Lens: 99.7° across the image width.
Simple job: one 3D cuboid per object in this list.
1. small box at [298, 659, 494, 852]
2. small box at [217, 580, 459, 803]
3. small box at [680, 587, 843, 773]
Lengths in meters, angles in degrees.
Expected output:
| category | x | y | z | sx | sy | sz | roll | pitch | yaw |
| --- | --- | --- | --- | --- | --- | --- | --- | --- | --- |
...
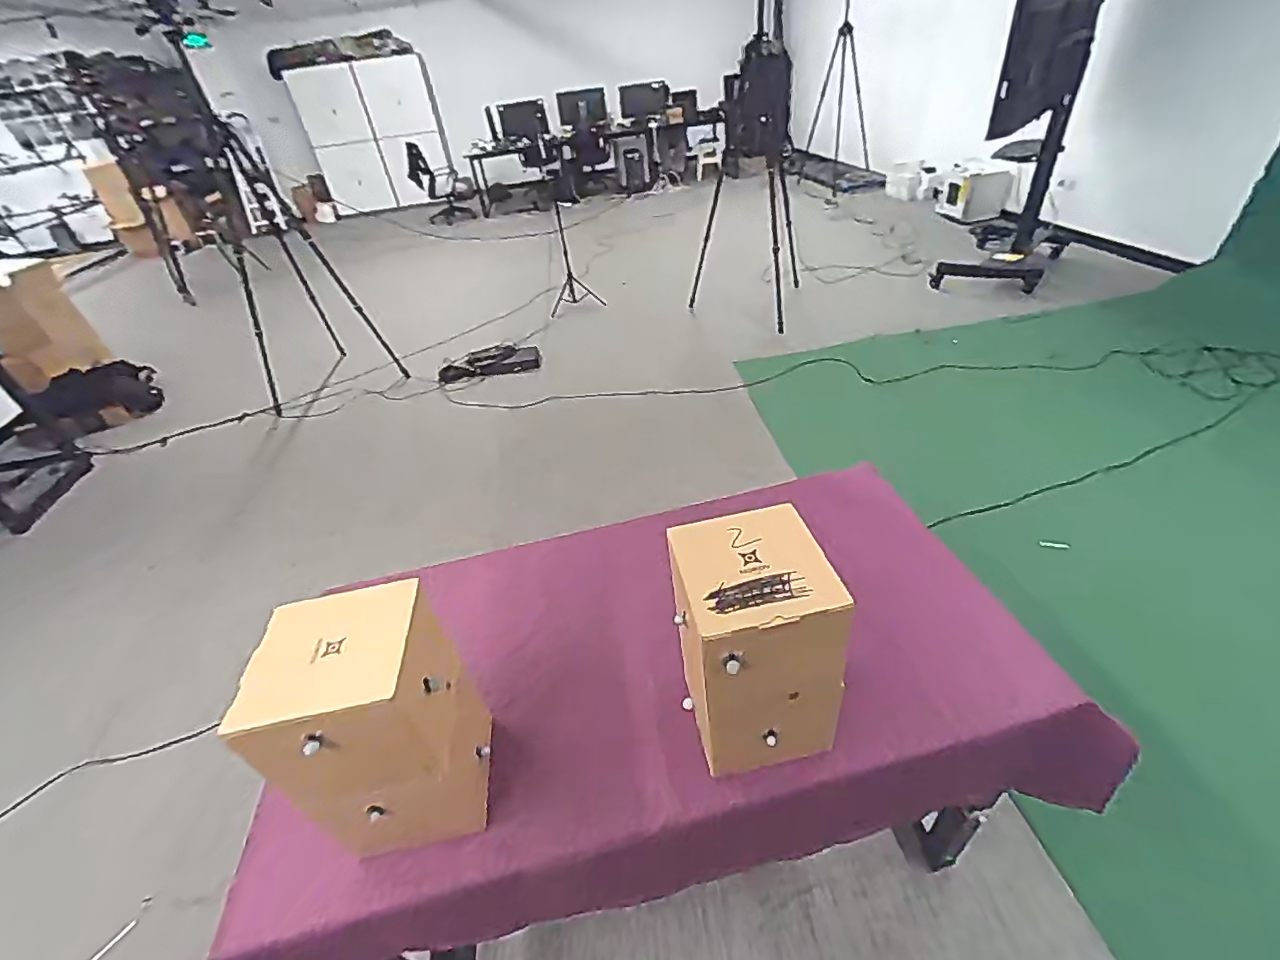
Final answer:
| category | x | y | z | sx | sy | sz | roll | pitch | yaw |
| --- | --- | --- | --- | --- | --- | --- | --- | --- | --- |
| small box | -0.314 | 0.377 | 0.739 | 0.179 | 0.176 | 0.168 | -11 | 39 | -3 |
| small box | -0.329 | 0.249 | 0.639 | 0.179 | 0.176 | 0.168 | -12 | 38 | -3 |
| small box | 0.162 | 0.283 | 0.767 | 0.179 | 0.176 | 0.168 | -12 | 38 | -3 |
